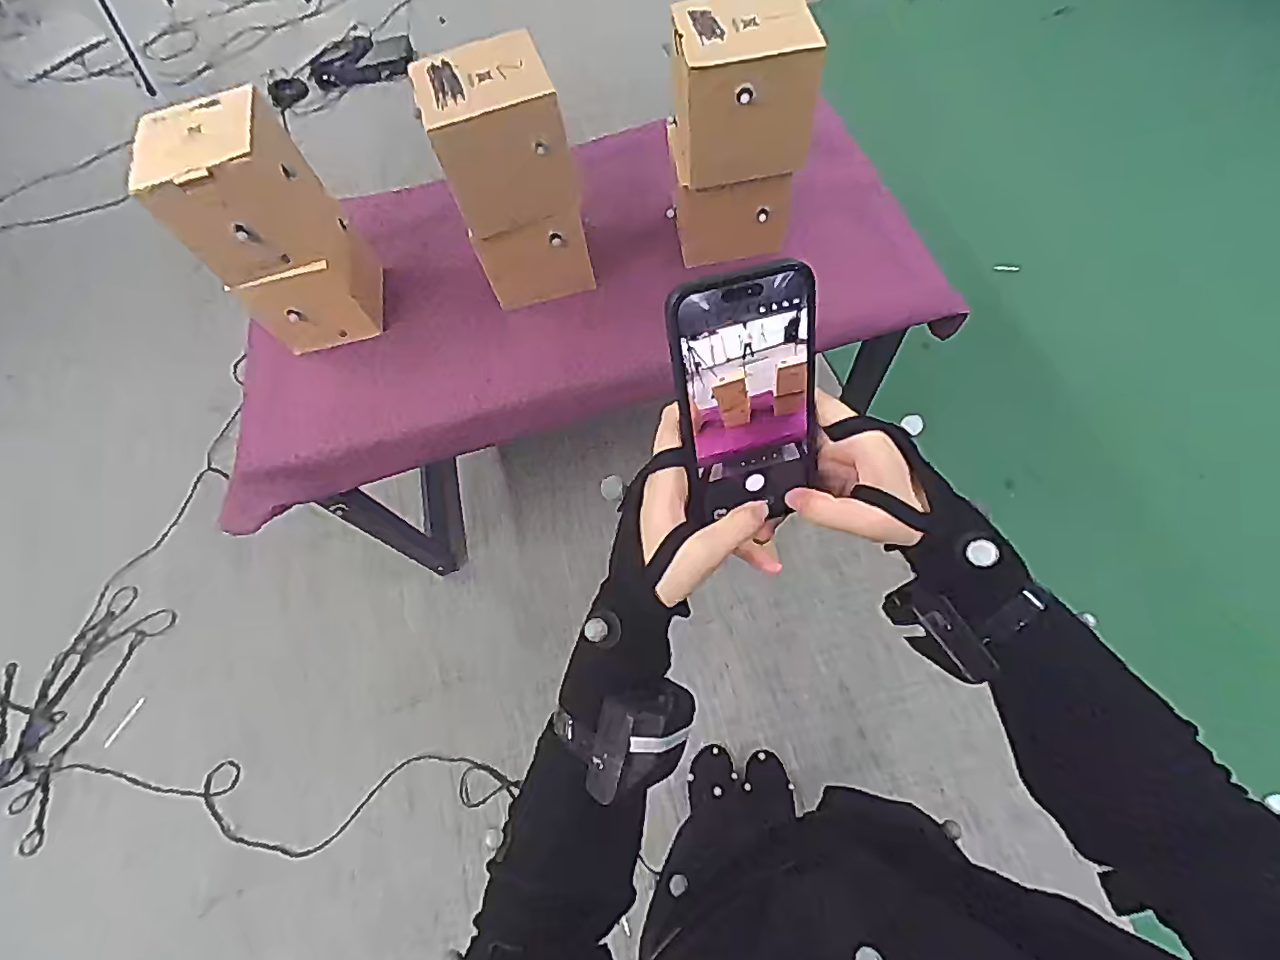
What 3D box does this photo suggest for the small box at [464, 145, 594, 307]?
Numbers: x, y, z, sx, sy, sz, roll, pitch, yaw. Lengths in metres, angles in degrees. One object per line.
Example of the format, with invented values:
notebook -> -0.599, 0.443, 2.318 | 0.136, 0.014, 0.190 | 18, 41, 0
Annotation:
small box -> -0.184, -0.432, 0.936 | 0.179, 0.176, 0.168 | -14, 64, 1

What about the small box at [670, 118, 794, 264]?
small box -> 0.150, -0.502, 0.929 | 0.179, 0.176, 0.168 | -9, 64, 4

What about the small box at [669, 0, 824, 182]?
small box -> 0.143, -0.559, 0.775 | 0.179, 0.176, 0.168 | -9, 64, 2

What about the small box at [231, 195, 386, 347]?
small box -> -0.567, -0.354, 0.949 | 0.168, 0.176, 0.179 | -14, 64, 1

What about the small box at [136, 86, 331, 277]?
small box -> -0.587, -0.430, 0.804 | 0.168, 0.176, 0.179 | -18, 65, -2
